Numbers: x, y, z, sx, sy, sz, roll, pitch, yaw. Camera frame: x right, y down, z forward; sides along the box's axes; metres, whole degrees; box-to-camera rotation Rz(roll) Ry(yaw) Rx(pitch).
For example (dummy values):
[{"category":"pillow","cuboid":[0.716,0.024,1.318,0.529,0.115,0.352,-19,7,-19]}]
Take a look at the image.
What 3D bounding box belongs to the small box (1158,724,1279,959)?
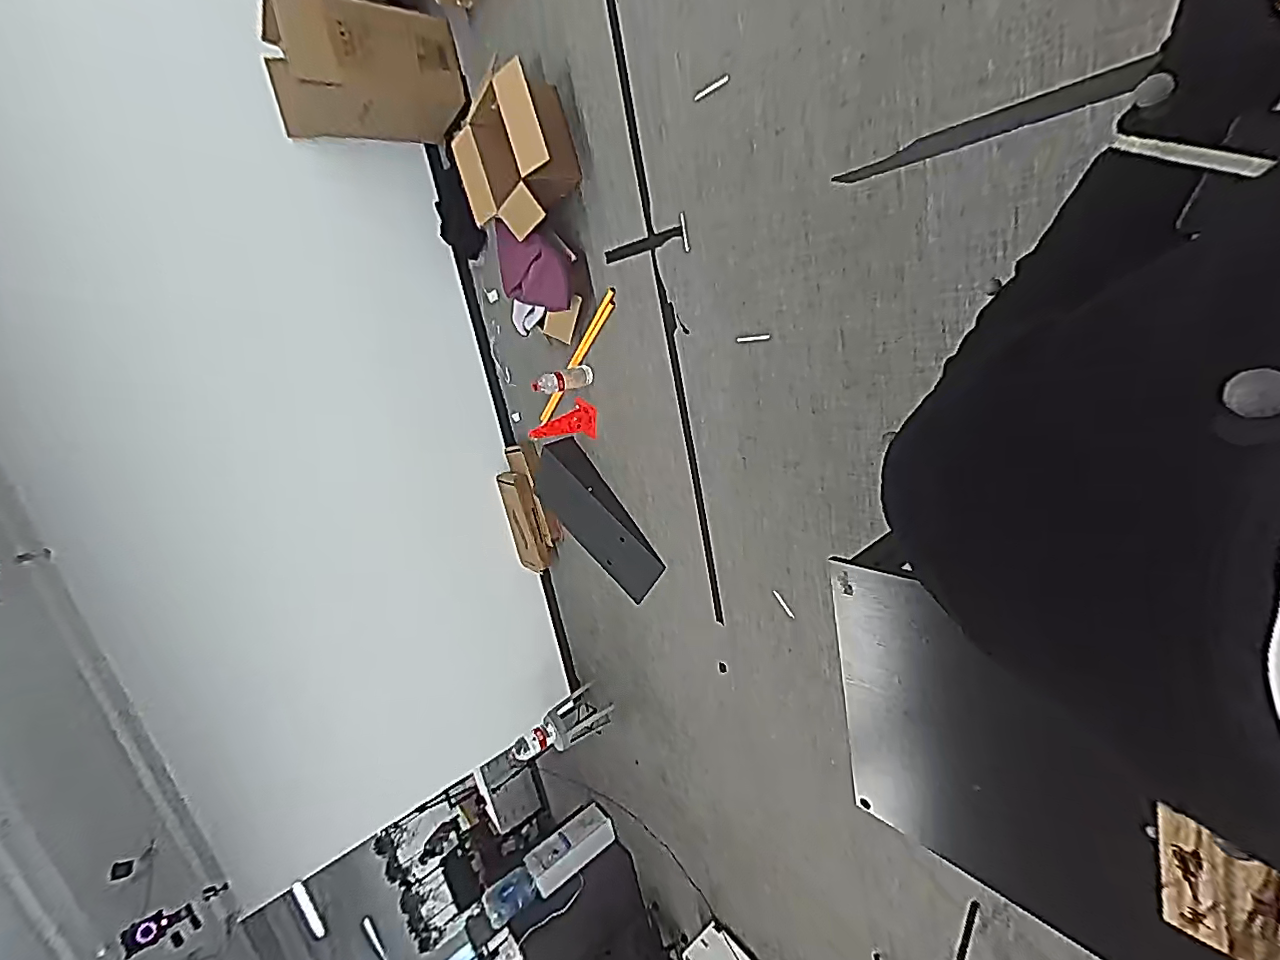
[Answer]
[{"category":"small box","cuboid":[0.678,0.391,0.562,0.179,0.176,0.168,3,112,54]}]
